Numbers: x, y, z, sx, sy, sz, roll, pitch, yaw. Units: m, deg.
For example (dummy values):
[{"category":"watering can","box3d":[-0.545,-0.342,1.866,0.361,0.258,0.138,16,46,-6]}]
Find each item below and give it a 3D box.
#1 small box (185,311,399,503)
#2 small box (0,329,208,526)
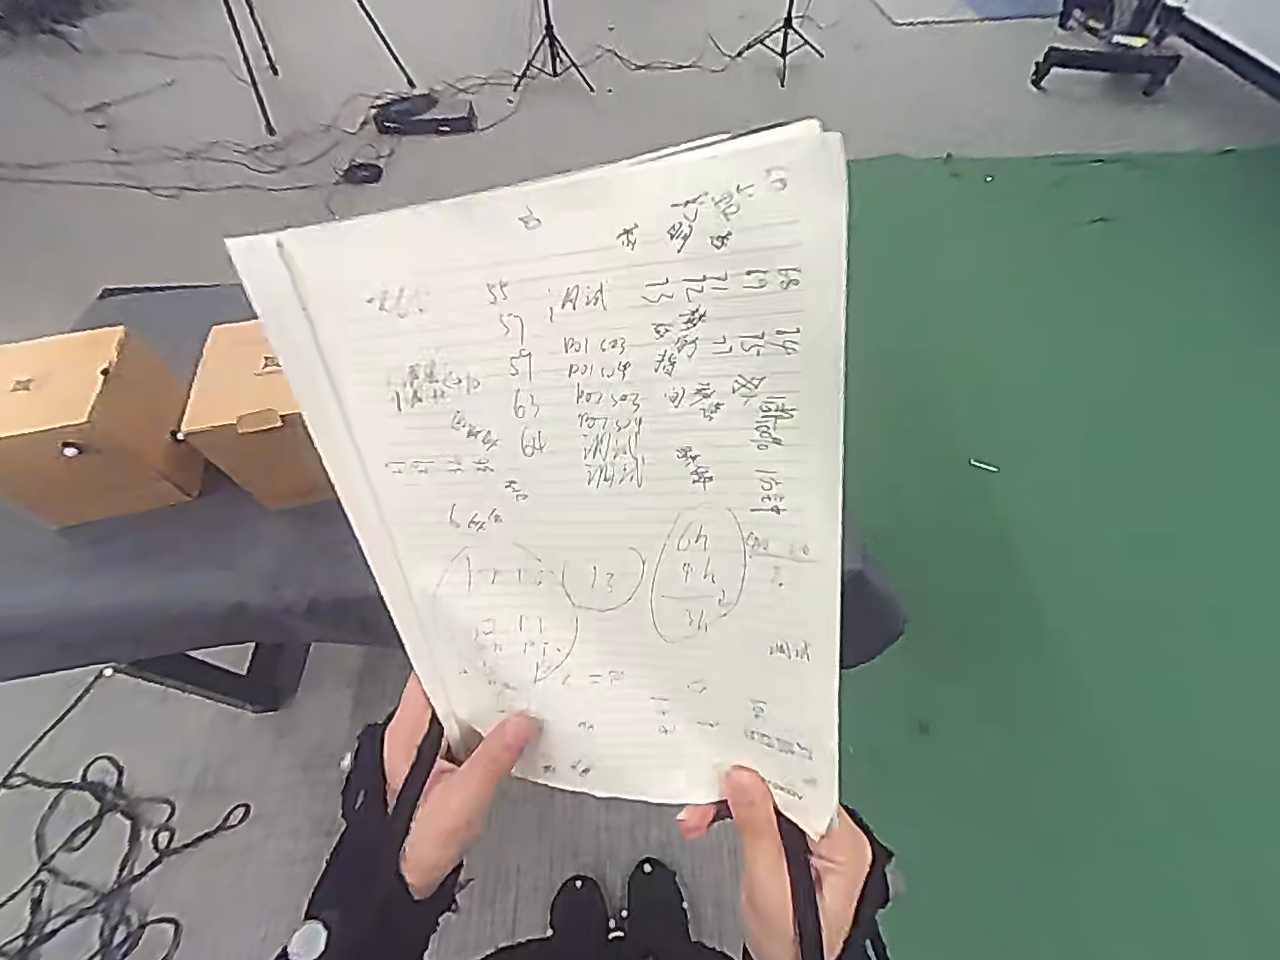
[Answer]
[{"category":"small box","box3d":[-0.425,-0.086,0.698,0.168,0.176,0.179,-11,55,-7]},{"category":"small box","box3d":[-0.697,-0.061,0.687,0.179,0.176,0.168,-13,56,-8]}]
